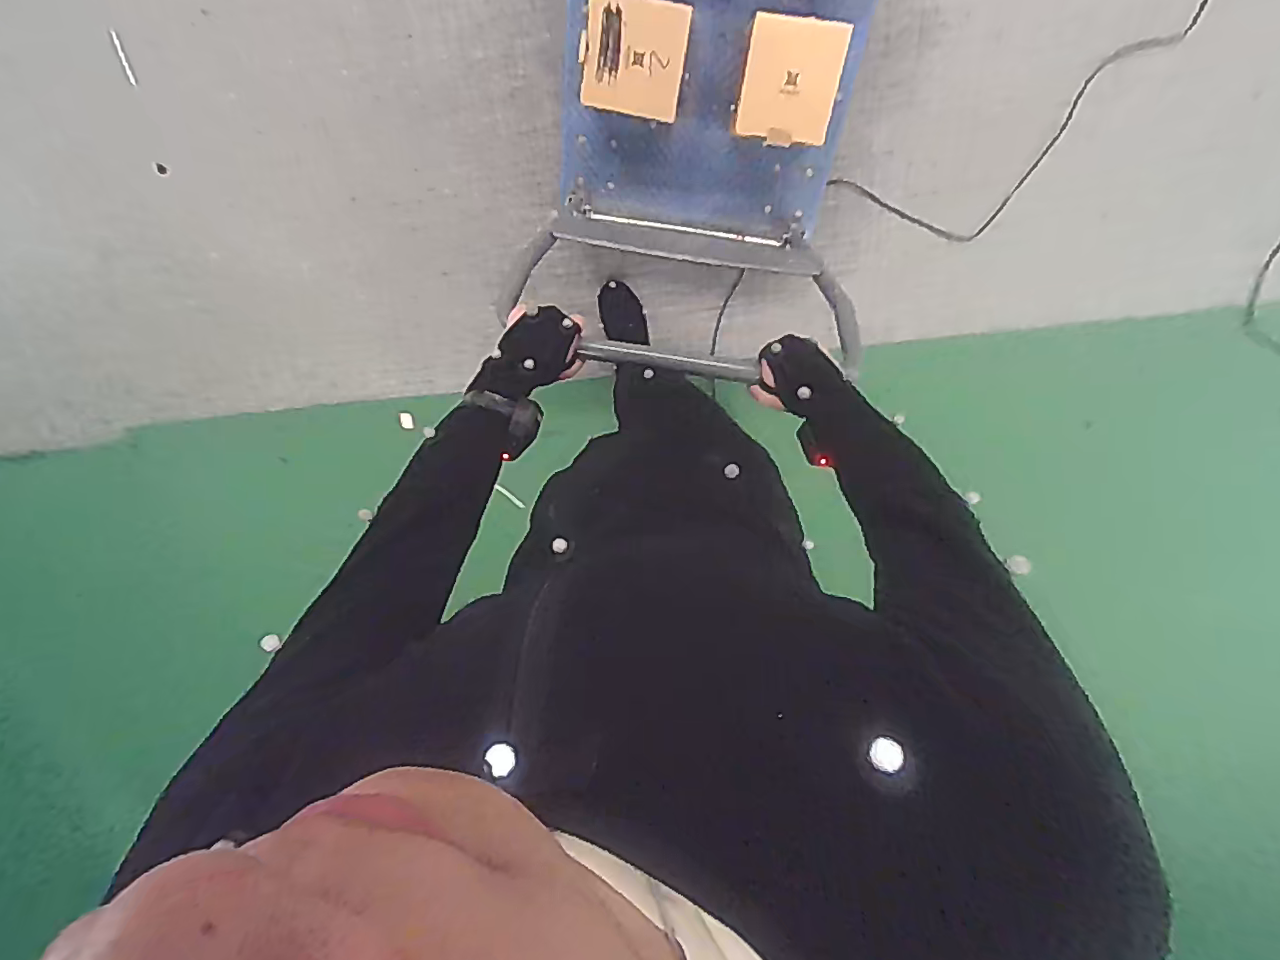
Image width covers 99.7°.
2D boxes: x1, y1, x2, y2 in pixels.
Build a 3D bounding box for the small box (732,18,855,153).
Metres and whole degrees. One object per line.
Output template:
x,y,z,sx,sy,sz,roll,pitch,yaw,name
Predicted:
0.273,-0.727,1.010,0.168,0.176,0.179,8,124,-1,small box
